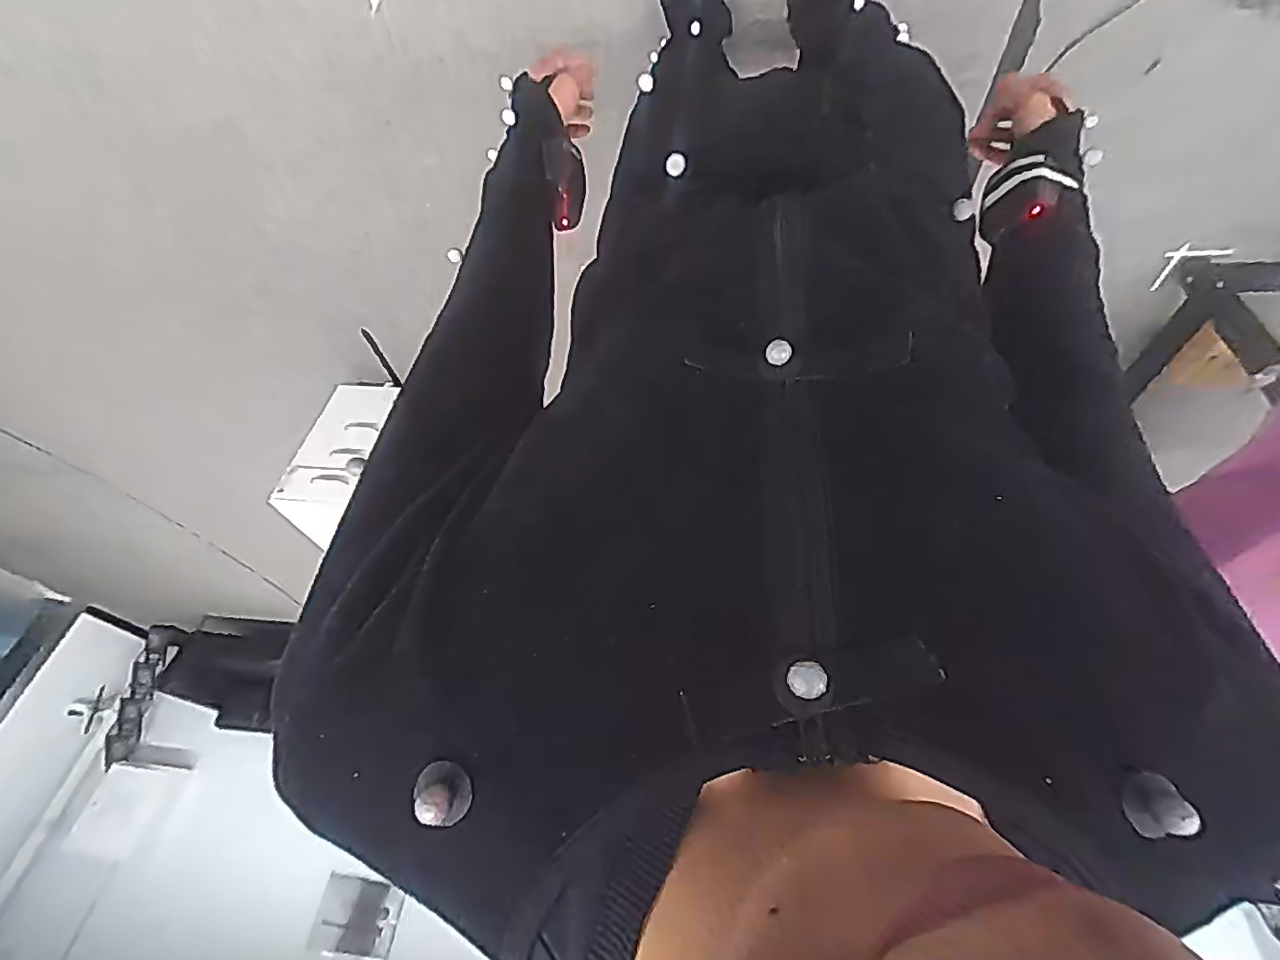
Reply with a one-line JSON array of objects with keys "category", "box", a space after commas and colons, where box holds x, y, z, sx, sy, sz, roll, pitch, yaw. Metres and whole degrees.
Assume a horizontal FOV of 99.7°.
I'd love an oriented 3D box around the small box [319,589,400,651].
[{"category": "small box", "box": [-1.000, 0.501, 1.944, 0.168, 0.176, 0.179, 3, 147, 10]}]
